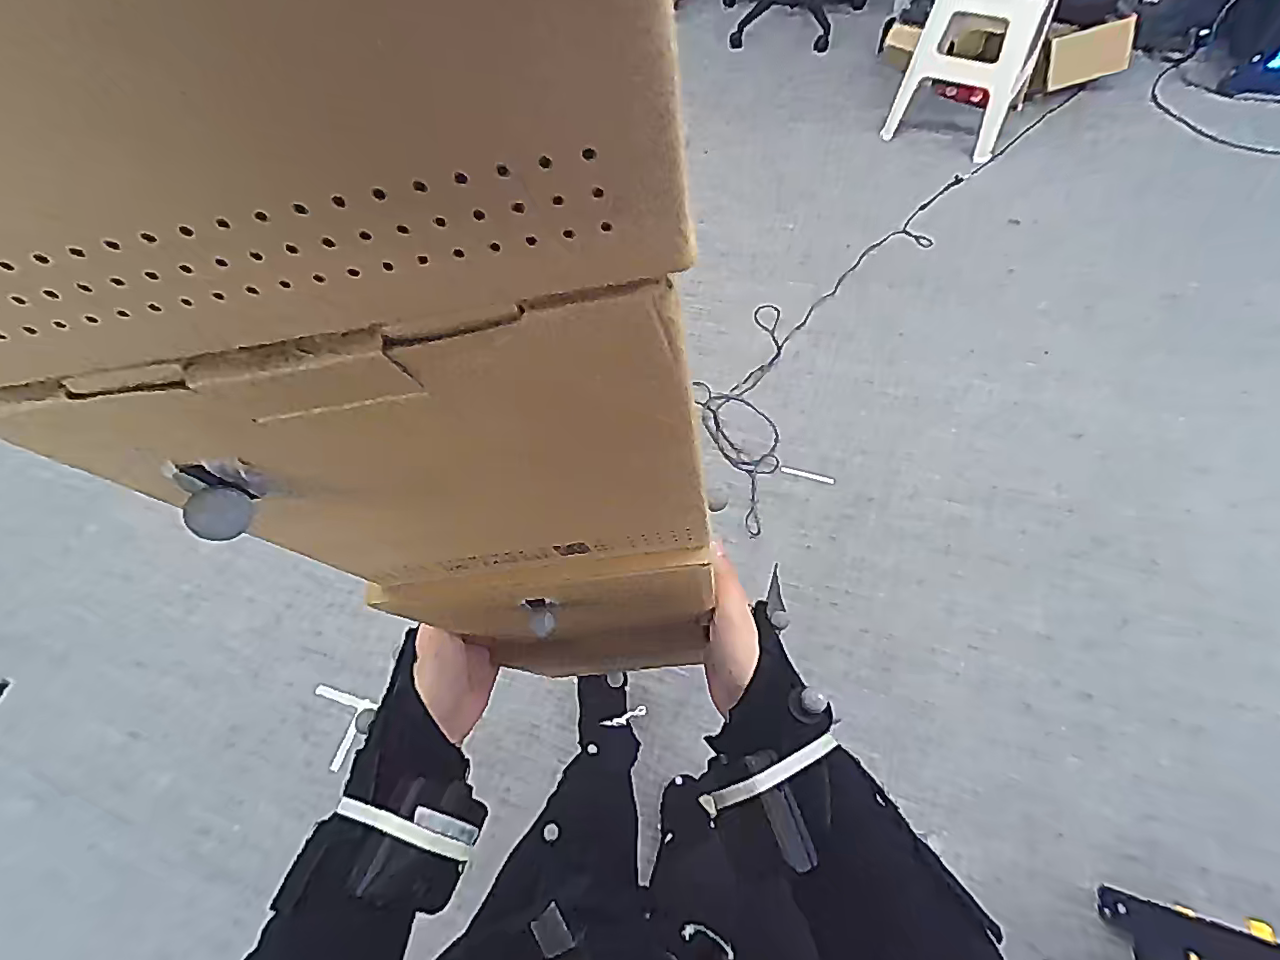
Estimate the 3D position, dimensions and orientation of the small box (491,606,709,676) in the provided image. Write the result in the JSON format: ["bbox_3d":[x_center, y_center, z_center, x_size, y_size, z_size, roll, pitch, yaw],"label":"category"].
[{"bbox_3d":[-0.028,0.081,0.510,0.168,0.176,0.179,-8,66,6],"label":"small box"}]

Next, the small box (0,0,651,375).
[{"bbox_3d":[-0.095,-0.134,0.072,0.179,0.176,0.168,-8,64,6],"label":"small box"}]

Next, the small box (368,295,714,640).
[{"bbox_3d":[-0.046,0.008,0.366,0.179,0.176,0.168,-9,66,6],"label":"small box"}]
